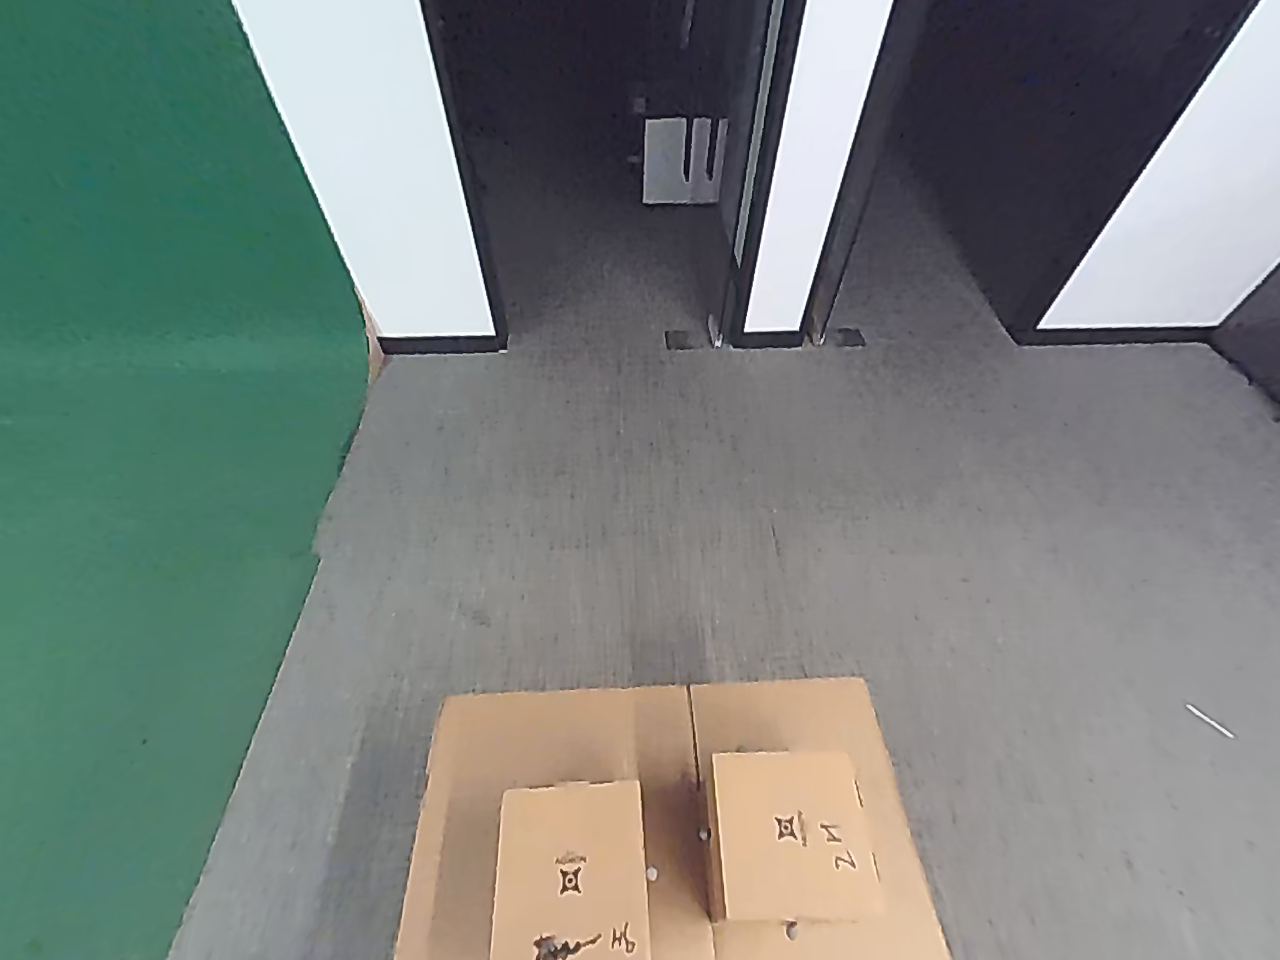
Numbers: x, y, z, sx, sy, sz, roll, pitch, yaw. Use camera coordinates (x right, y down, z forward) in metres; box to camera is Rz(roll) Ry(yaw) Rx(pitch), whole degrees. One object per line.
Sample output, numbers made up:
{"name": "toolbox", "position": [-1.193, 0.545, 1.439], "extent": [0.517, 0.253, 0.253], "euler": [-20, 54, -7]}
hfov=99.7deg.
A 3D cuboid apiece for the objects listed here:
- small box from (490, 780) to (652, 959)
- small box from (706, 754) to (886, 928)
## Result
{"name": "small box", "position": [-0.074, 0.484, 0.653], "extent": [0.168, 0.176, 0.179], "euler": [-3, 49, -2]}
{"name": "small box", "position": [0.177, 0.456, 0.681], "extent": [0.179, 0.176, 0.168], "euler": [-1, 50, 1]}
